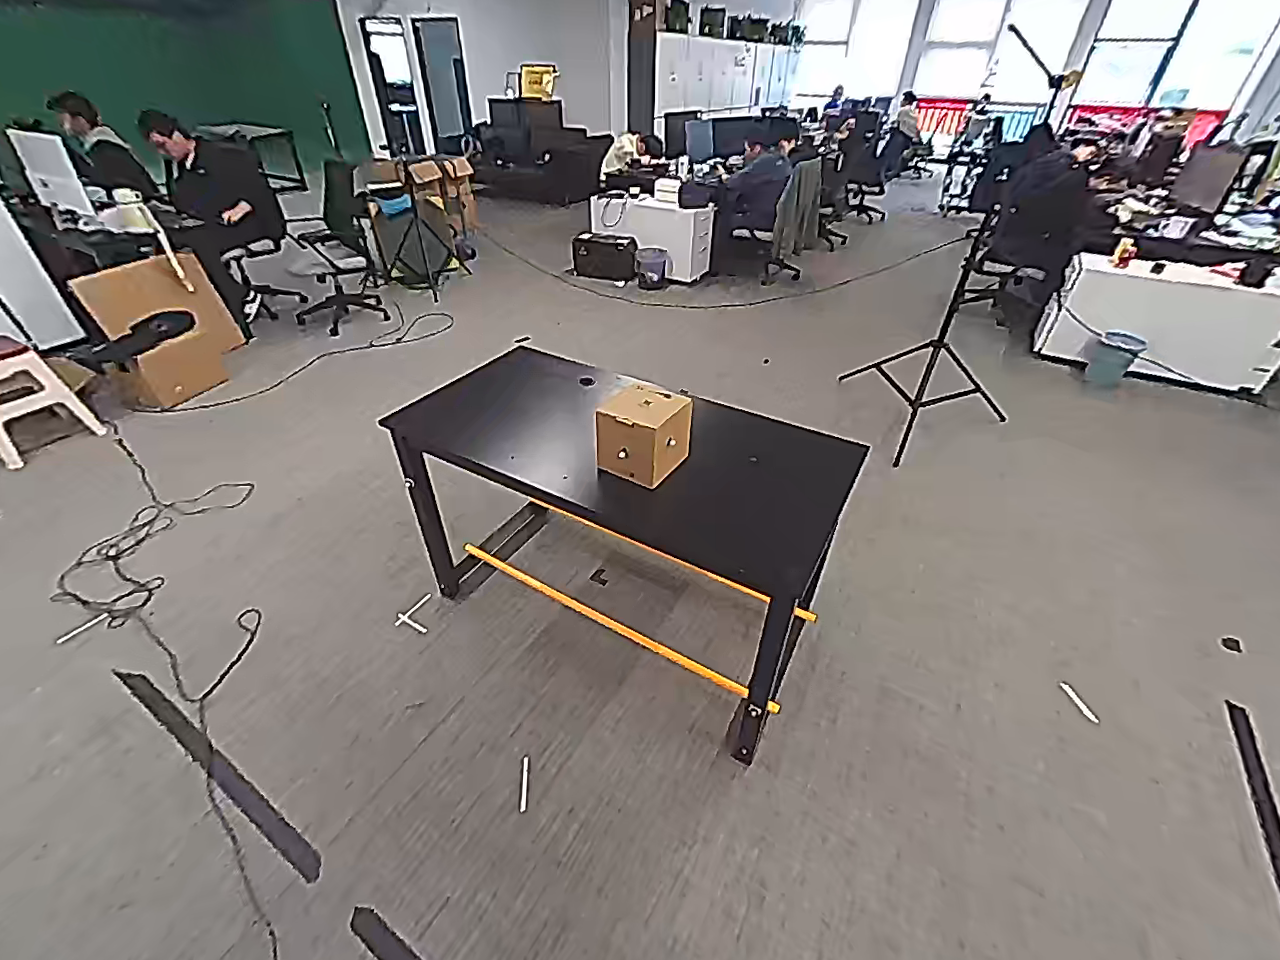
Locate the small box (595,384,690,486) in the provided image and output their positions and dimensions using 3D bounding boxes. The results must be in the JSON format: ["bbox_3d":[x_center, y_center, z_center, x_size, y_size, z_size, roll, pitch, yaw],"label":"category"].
[{"bbox_3d":[0.010,-0.110,1.324,0.168,0.176,0.179,21,42,25],"label":"small box"}]
